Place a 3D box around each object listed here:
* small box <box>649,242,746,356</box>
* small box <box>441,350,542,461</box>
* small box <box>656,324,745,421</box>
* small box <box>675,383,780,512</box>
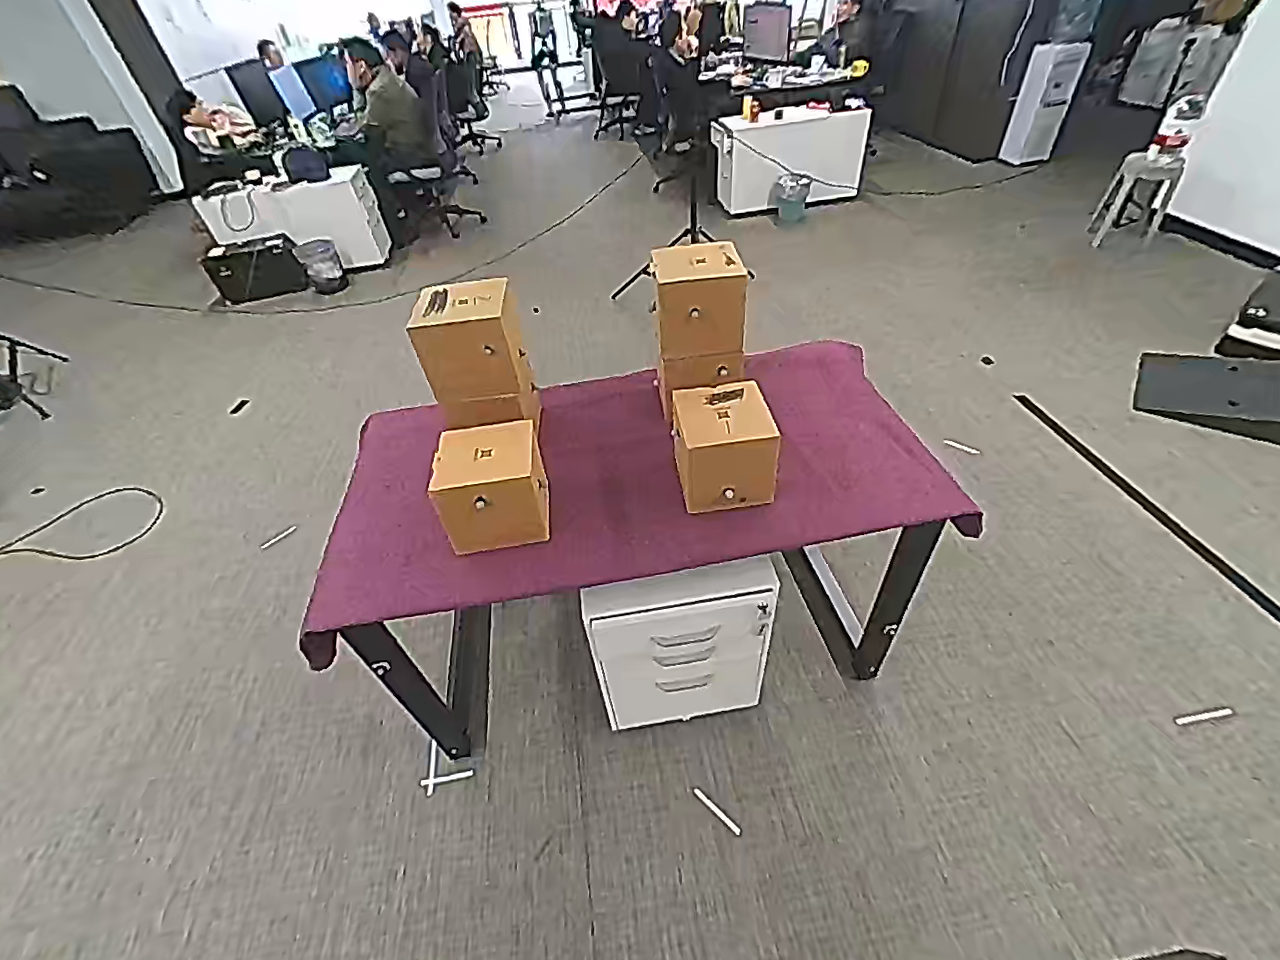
[{"bbox_3d":[0.119,-0.374,1.132,0.179,0.176,0.168,-7,45,1],"label":"small box"},{"bbox_3d":[-0.320,-0.166,1.207,0.168,0.176,0.179,-6,46,2],"label":"small box"},{"bbox_3d":[0.134,-0.256,1.245,0.179,0.176,0.168,-7,44,-1],"label":"small box"},{"bbox_3d":[0.160,-0.062,1.039,0.168,0.176,0.179,-8,43,-1],"label":"small box"}]
